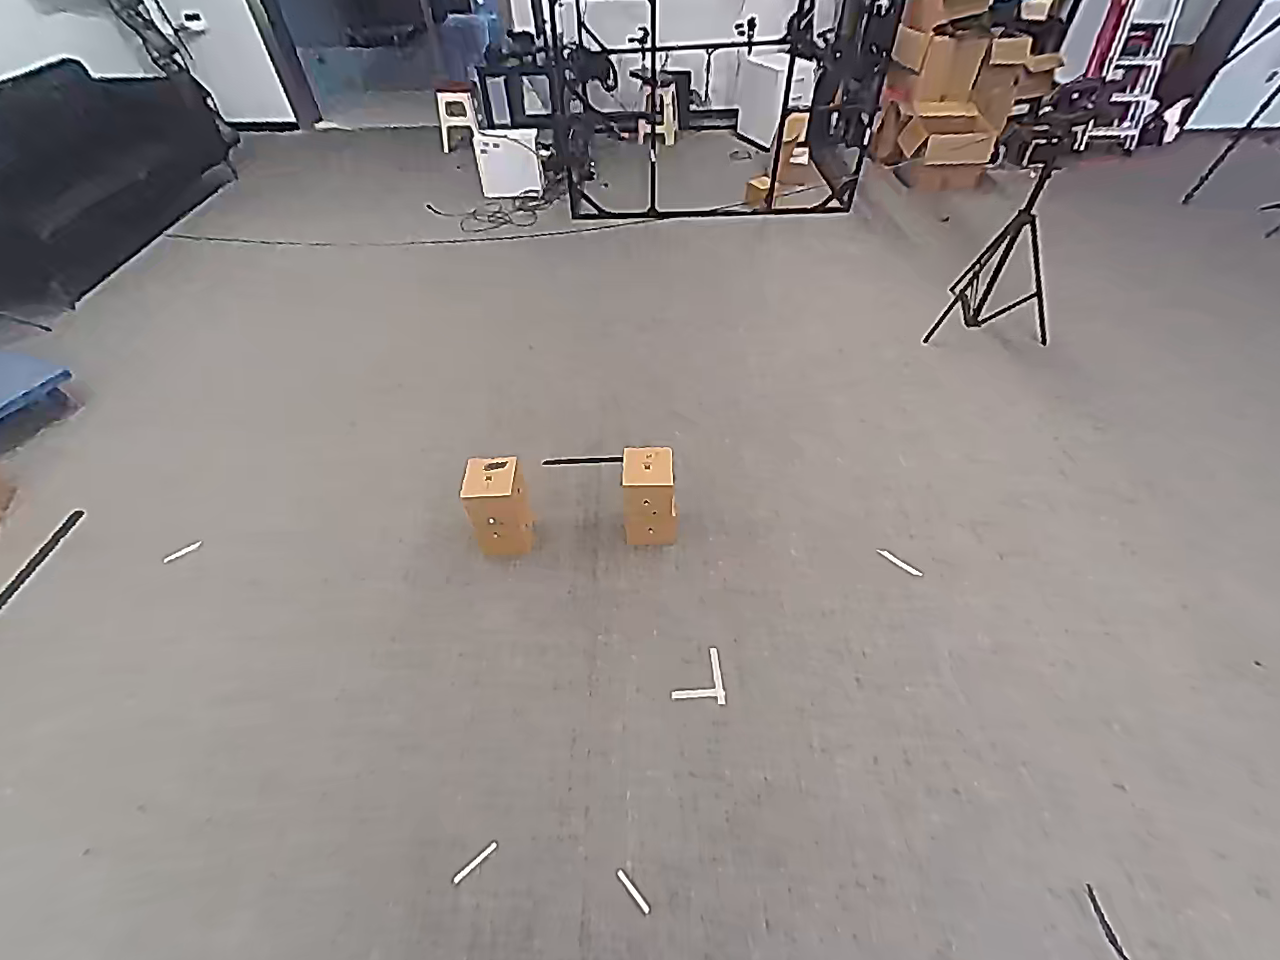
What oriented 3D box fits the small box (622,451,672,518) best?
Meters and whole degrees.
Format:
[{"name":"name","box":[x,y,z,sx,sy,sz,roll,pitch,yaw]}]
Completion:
[{"name":"small box","box":[0.026,0.018,1.854,0.168,0.176,0.179,0,48,1]}]

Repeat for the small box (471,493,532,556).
[{"name":"small box","box":[-0.493,0.161,1.959,0.179,0.176,0.168,-3,48,0]}]

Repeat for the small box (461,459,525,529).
[{"name":"small box","box":[-0.491,0.048,1.839,0.168,0.176,0.179,-2,49,0]}]
